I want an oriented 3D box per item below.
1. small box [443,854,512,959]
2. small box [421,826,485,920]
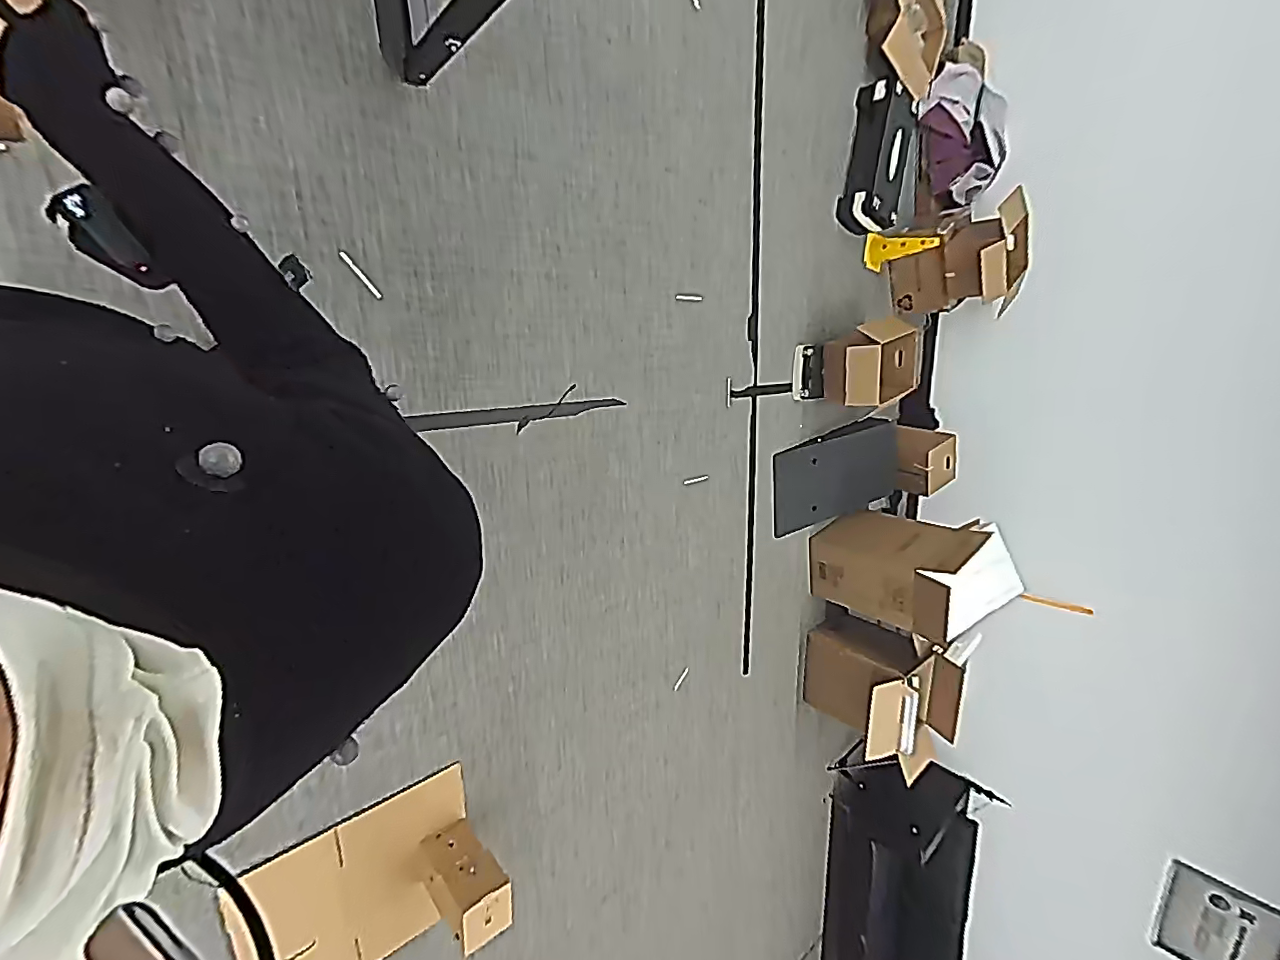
[{"bbox_3d":[-0.529,1.380,1.760,0.168,0.176,0.179,-9,106,-41],"label":"small box"},{"bbox_3d":[-0.646,1.346,1.873,0.168,0.176,0.179,-11,106,-40],"label":"small box"}]
